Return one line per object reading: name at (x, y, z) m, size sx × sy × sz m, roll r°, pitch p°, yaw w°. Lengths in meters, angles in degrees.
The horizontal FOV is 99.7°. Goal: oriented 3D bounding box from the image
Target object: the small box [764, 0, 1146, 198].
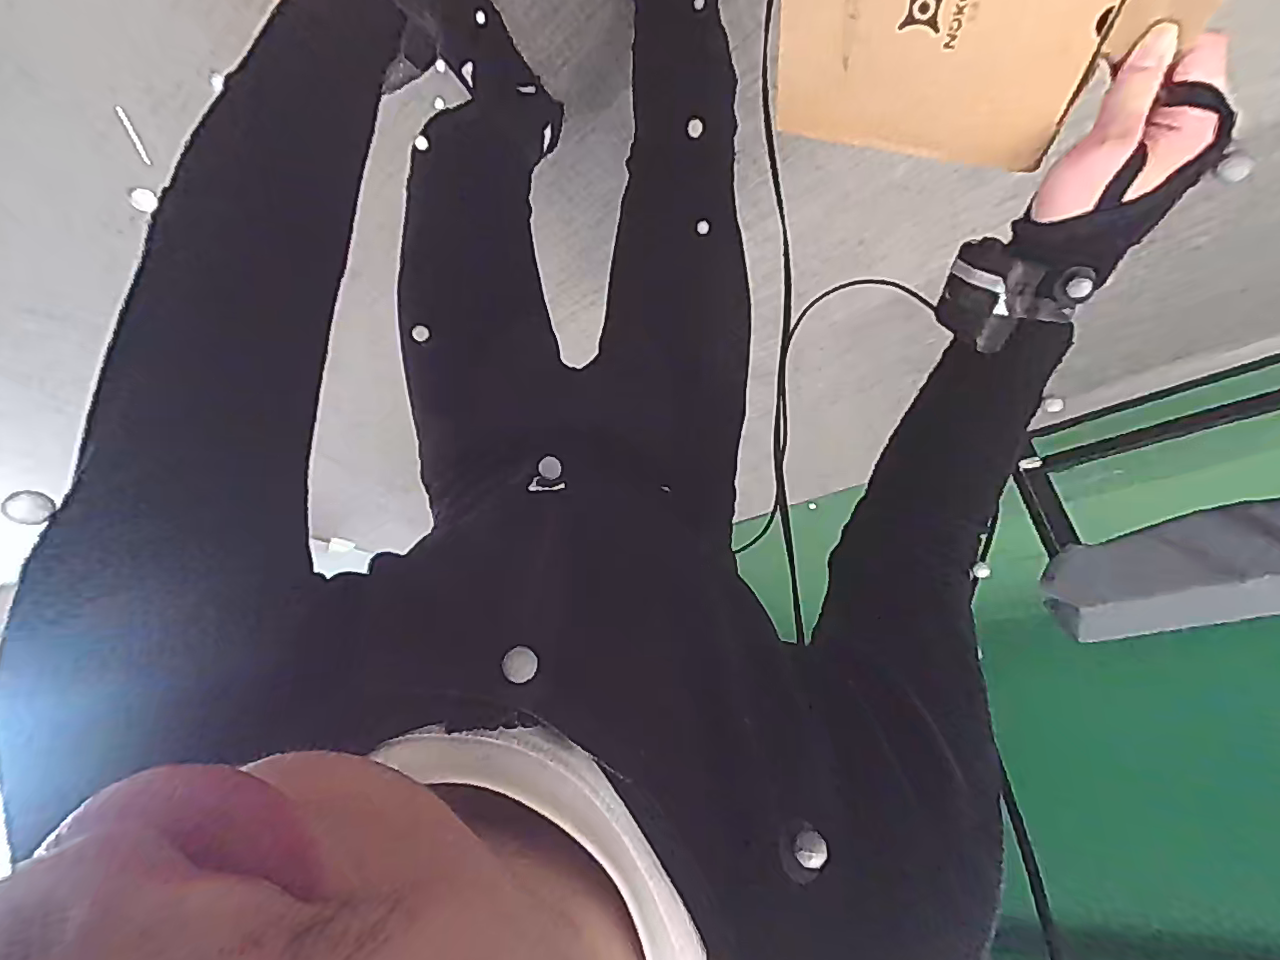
small box at (0.193, -0.309, 0.316) m, size 0.179 × 0.176 × 0.168 m, roll 24°, pitch 160°, yaw 16°
